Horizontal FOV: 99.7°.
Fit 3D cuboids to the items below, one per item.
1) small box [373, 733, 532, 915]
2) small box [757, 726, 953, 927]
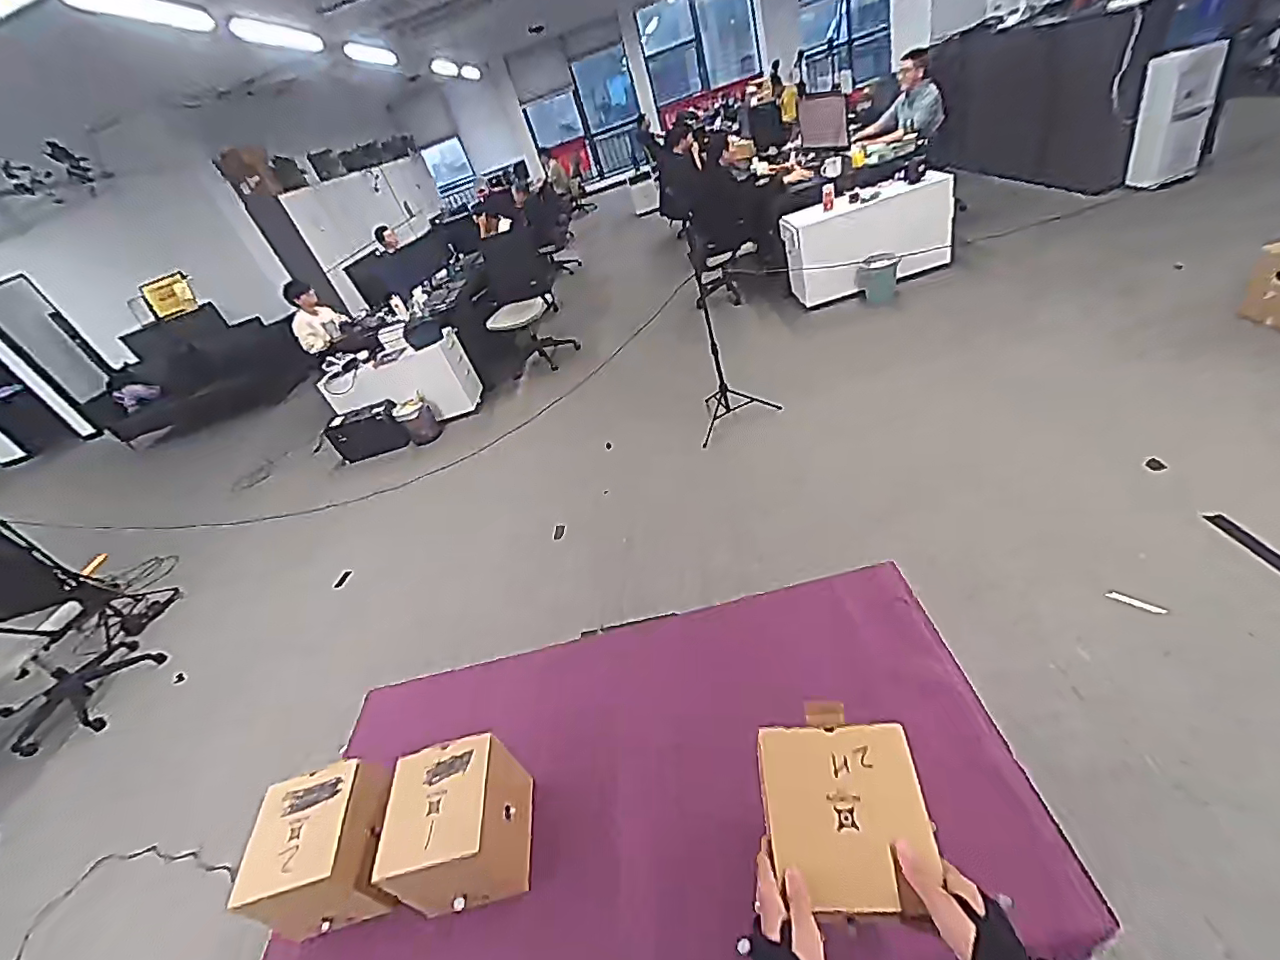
[{"bbox_3d":[-0.280,0.543,0.856,0.168,0.176,0.179,-18,36,4],"label":"small box"},{"bbox_3d":[0.229,0.402,0.626,0.168,0.176,0.179,-5,48,8],"label":"small box"}]
